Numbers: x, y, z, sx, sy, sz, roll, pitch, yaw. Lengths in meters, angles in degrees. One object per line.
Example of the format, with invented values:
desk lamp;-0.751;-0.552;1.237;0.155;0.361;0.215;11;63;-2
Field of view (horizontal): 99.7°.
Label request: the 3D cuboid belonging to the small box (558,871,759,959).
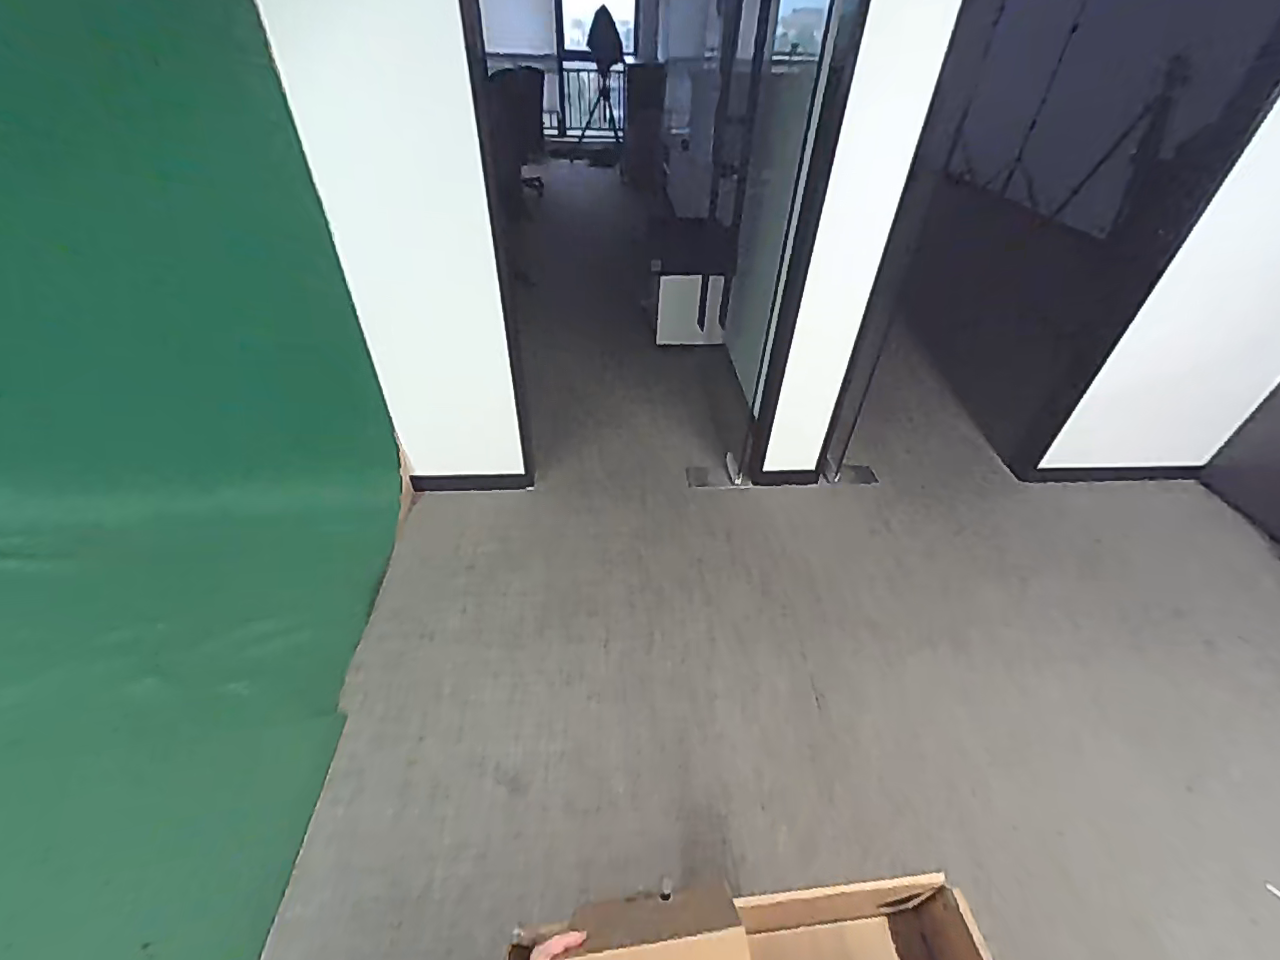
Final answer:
small box;0.027;0.486;0.483;0.168;0.176;0.179;-8;67;-2
